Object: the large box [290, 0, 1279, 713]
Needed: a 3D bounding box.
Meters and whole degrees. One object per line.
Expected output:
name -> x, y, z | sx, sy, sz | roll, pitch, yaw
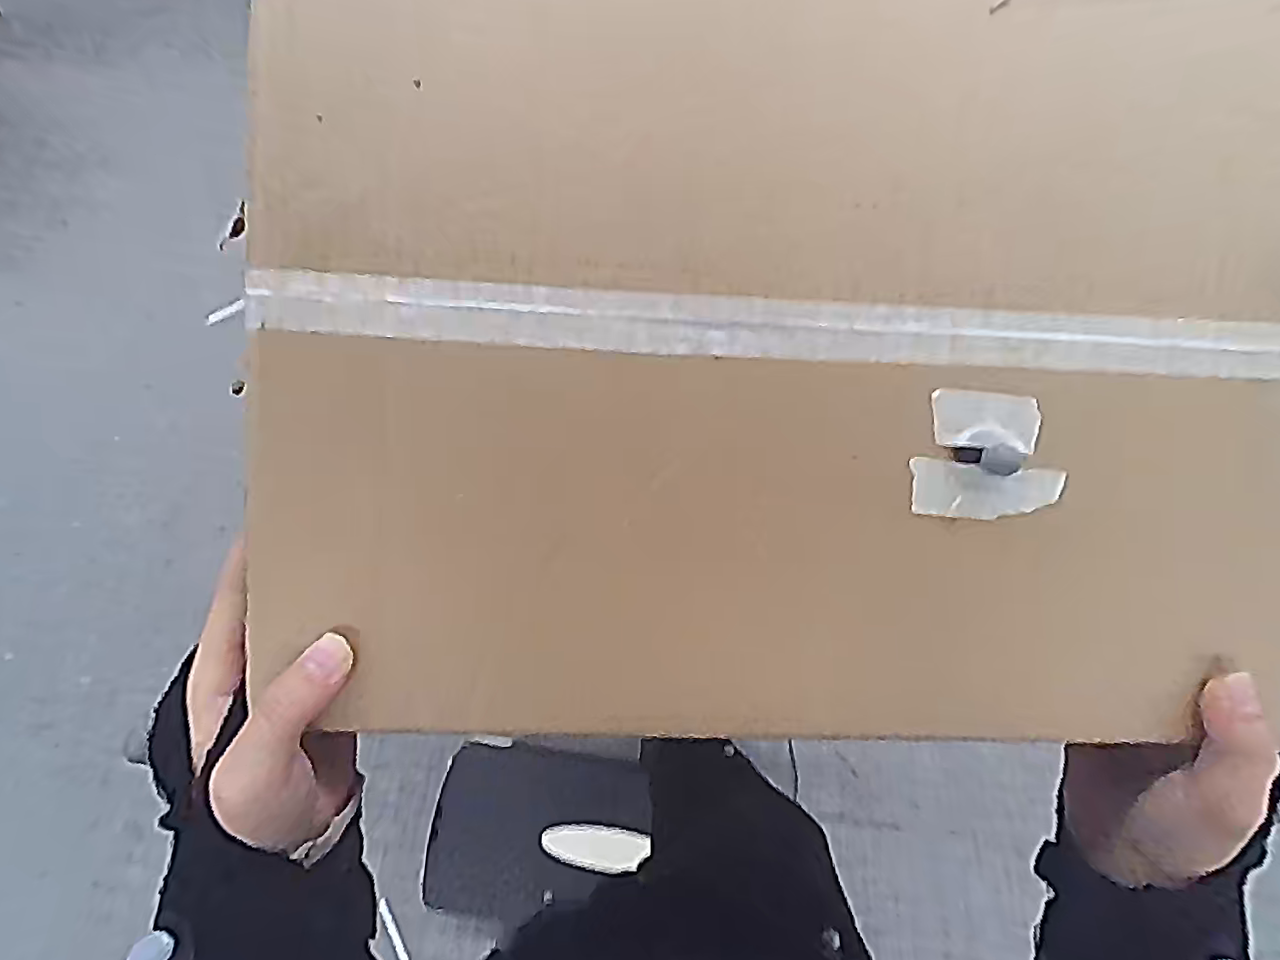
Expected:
large box -> 0.055, -0.063, 0.366 | 0.408, 0.320, 0.320 | 2, 92, -4
